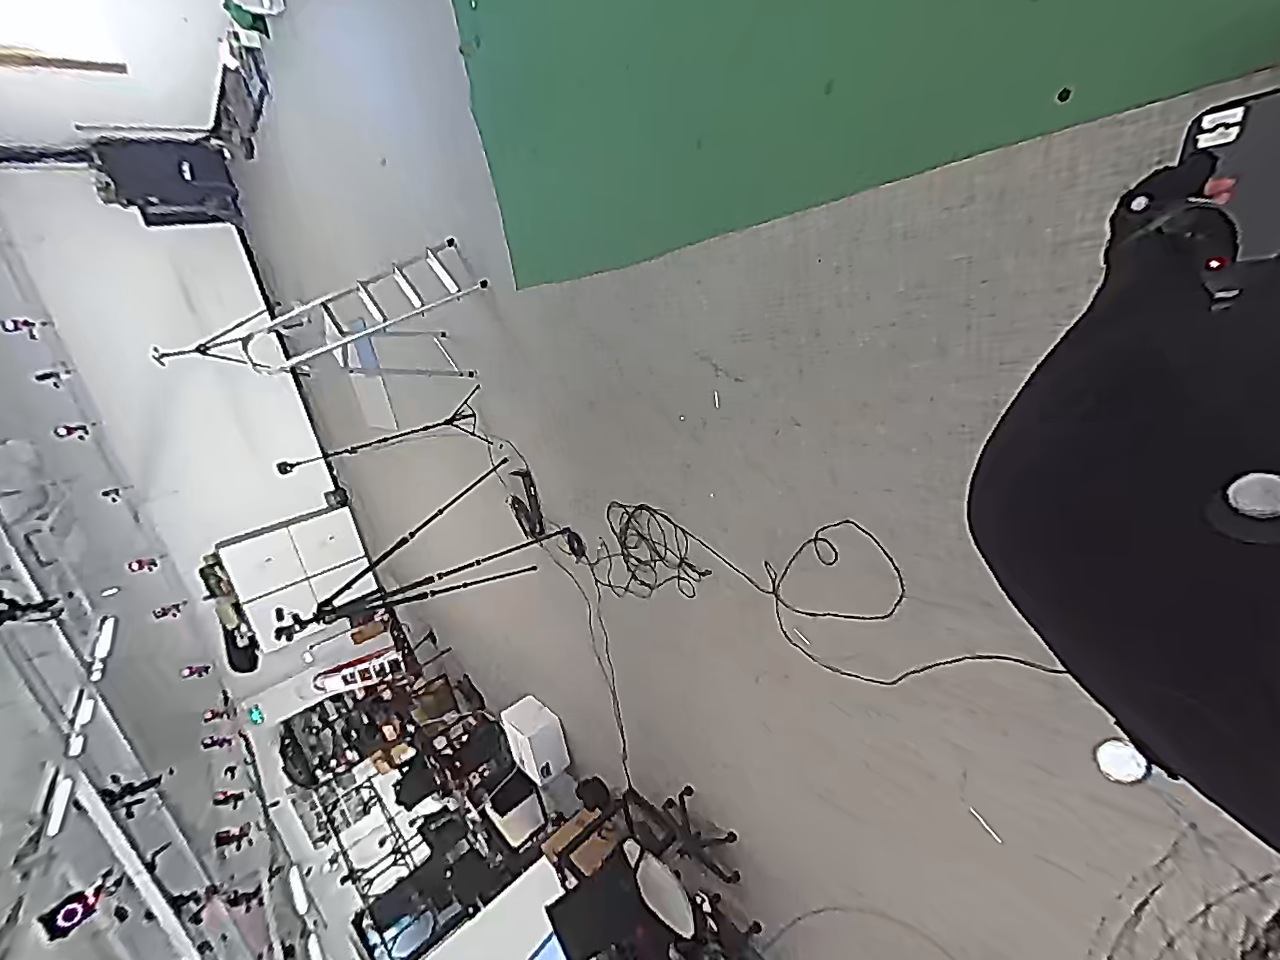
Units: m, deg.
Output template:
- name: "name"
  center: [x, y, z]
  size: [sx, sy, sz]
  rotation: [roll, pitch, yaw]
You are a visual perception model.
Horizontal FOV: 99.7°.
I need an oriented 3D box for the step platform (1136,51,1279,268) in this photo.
- name: "step platform"
  center: [1.108, -0.486, 0.689]
  size: [0.684, 0.204, 0.286]
  rotation: [9, 117, 49]
